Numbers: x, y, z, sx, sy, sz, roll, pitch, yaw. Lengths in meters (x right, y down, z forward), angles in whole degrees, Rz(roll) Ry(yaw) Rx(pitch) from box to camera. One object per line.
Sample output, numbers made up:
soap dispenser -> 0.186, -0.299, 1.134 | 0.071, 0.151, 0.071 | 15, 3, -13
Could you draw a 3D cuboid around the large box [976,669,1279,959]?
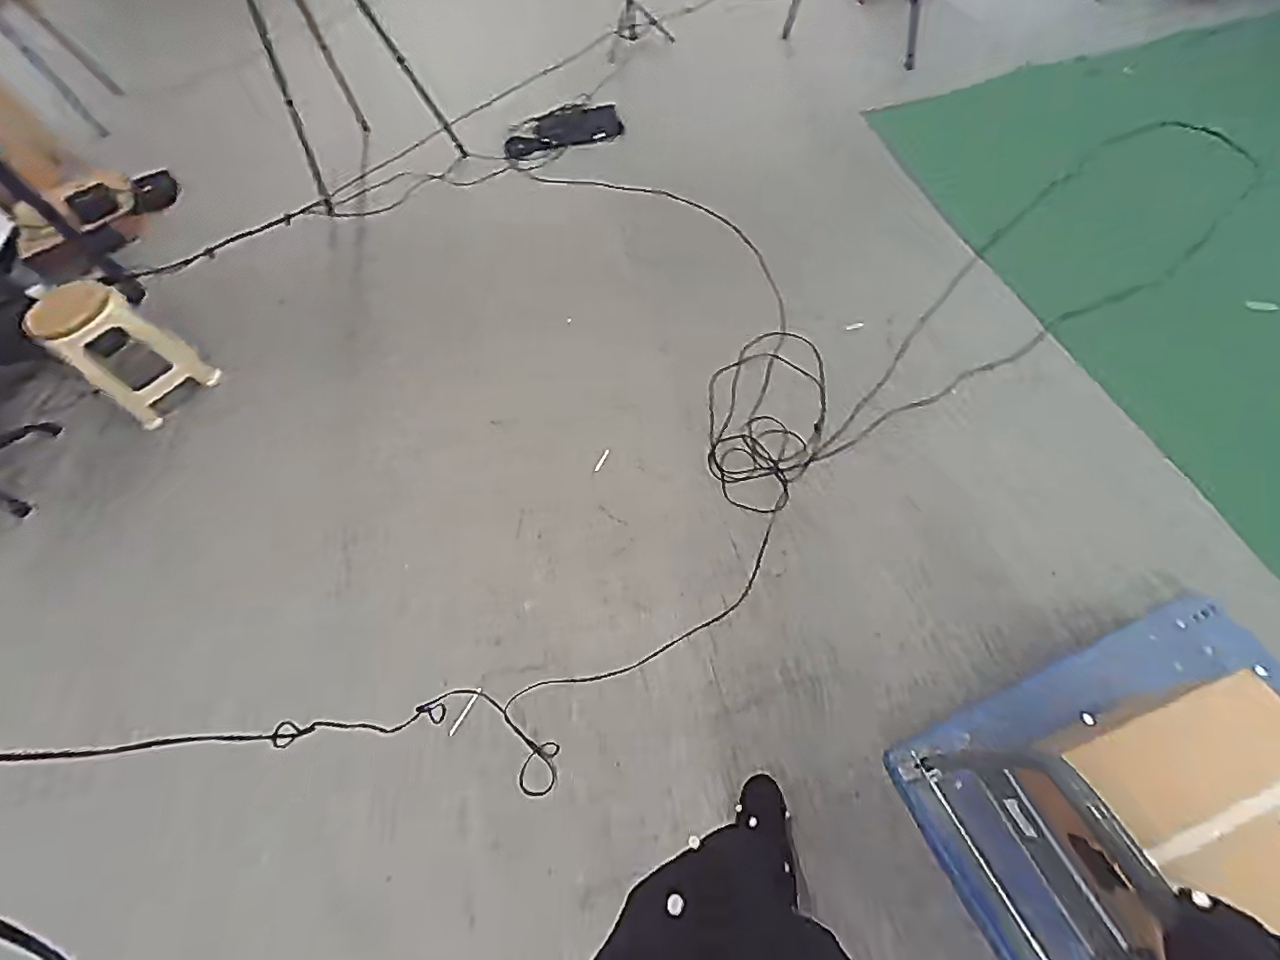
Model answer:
large box -> 0.923, 0.595, 0.961 | 0.408, 0.320, 0.320 | -22, 59, -6
